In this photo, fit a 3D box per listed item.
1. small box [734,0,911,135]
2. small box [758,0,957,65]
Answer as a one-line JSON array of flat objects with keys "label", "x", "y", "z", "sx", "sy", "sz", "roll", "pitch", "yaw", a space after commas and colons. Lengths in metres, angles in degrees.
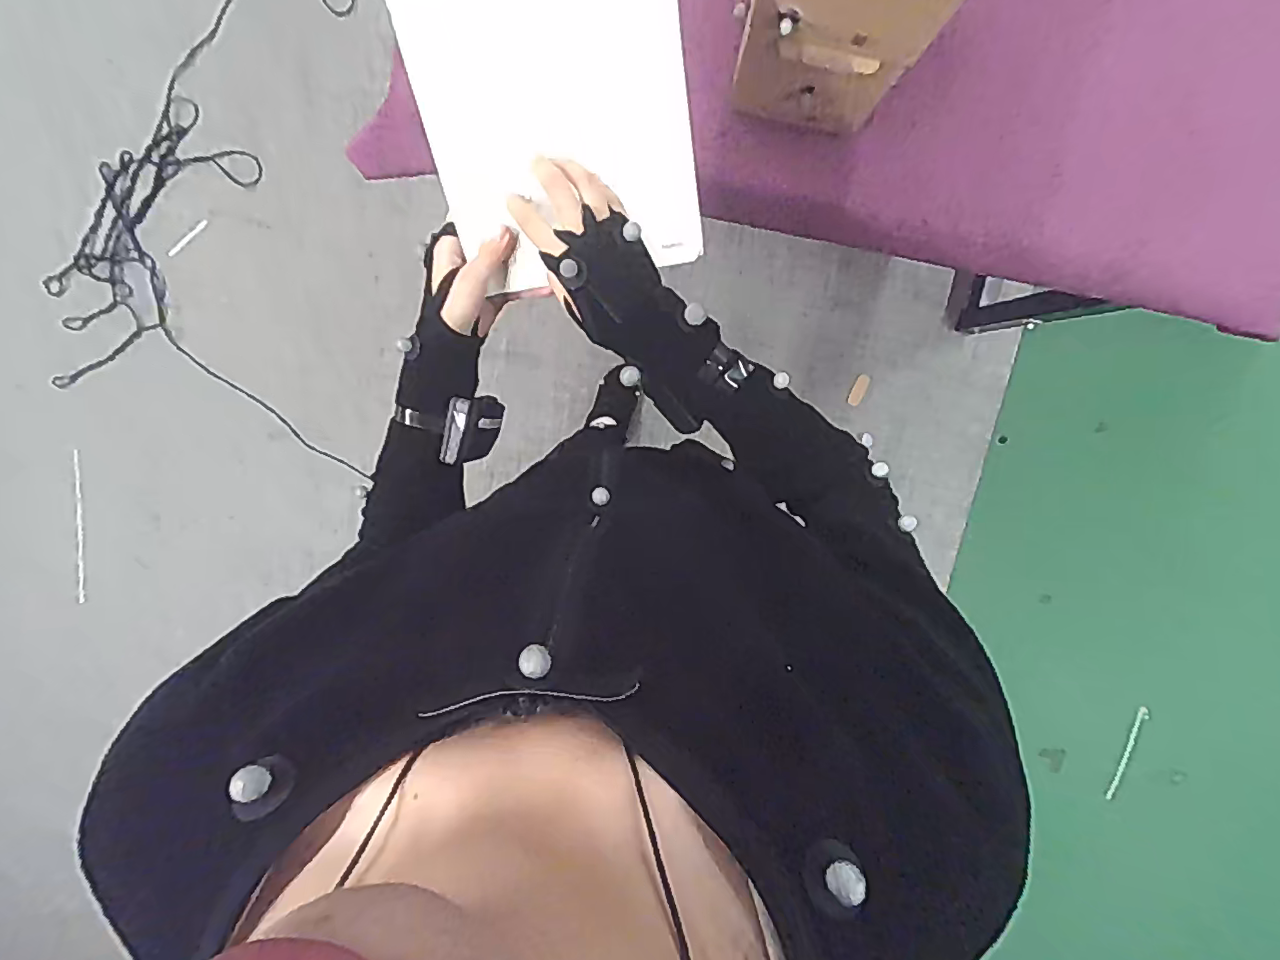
[{"label": "small box", "x": 0.209, "y": -0.521, "z": 0.601, "sx": 0.168, "sy": 0.176, "sz": 0.179, "roll": 12, "pitch": 100, "yaw": -1}, {"label": "small box", "x": 0.203, "y": -0.488, "z": 0.439, "sx": 0.168, "sy": 0.176, "sz": 0.179, "roll": 12, "pitch": 98, "yaw": -1}]
